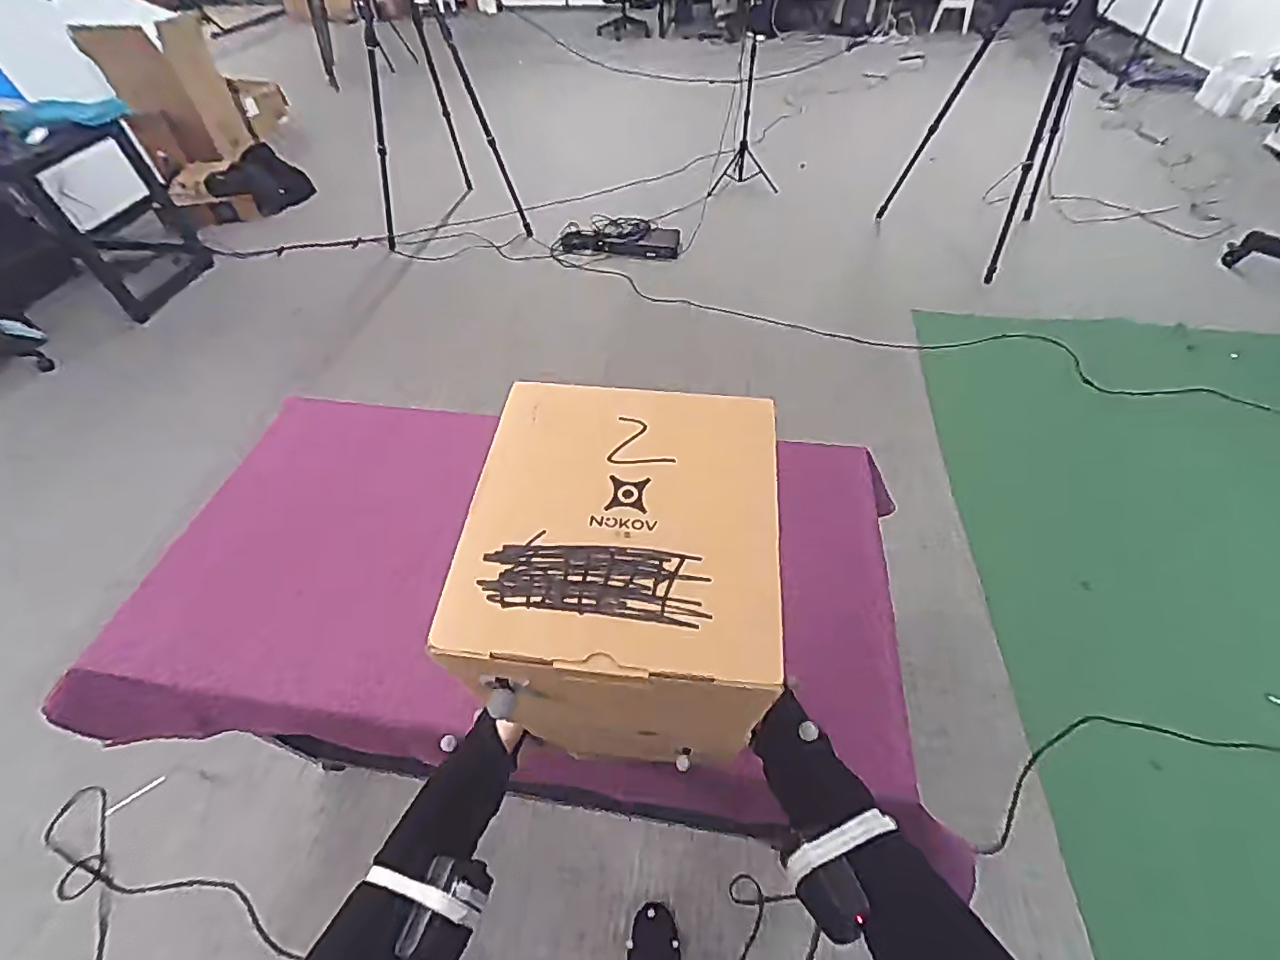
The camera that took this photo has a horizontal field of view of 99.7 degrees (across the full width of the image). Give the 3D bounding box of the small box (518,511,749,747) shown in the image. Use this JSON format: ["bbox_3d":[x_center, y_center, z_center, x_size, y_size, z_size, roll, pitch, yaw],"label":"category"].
[{"bbox_3d":[0.003,0.147,0.513,0.179,0.176,0.168,3,55,5],"label":"small box"}]
